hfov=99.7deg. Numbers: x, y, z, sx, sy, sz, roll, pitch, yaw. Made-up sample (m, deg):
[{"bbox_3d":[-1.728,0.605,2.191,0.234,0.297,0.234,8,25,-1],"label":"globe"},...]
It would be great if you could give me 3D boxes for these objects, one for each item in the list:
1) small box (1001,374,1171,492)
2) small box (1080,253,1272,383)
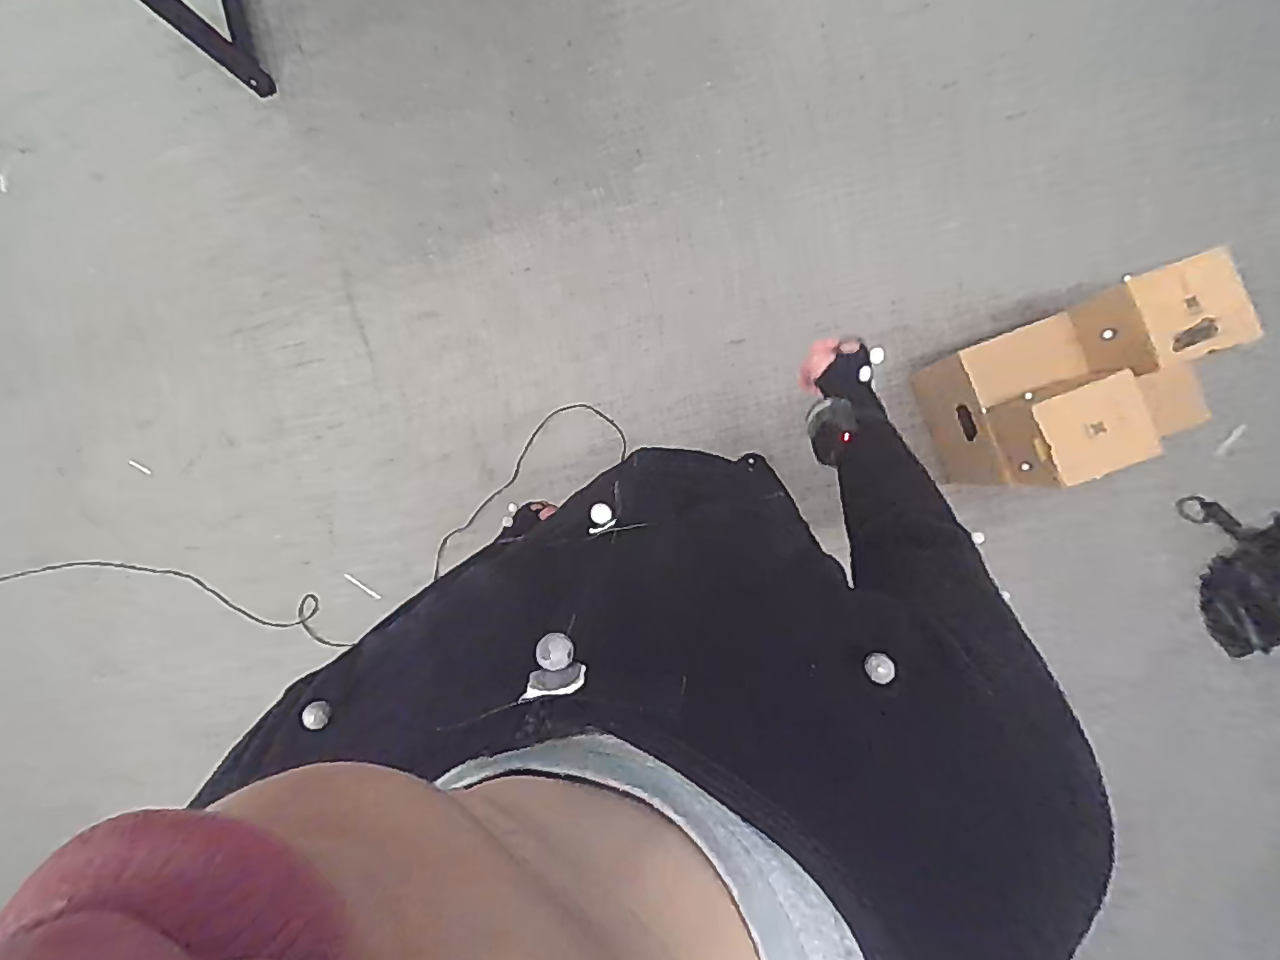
[{"bbox_3d":[0.840,-0.086,1.044,0.179,0.176,0.168,-23,91,7],"label":"small box"},{"bbox_3d":[0.990,-0.286,1.017,0.168,0.176,0.179,-19,85,9],"label":"small box"}]
